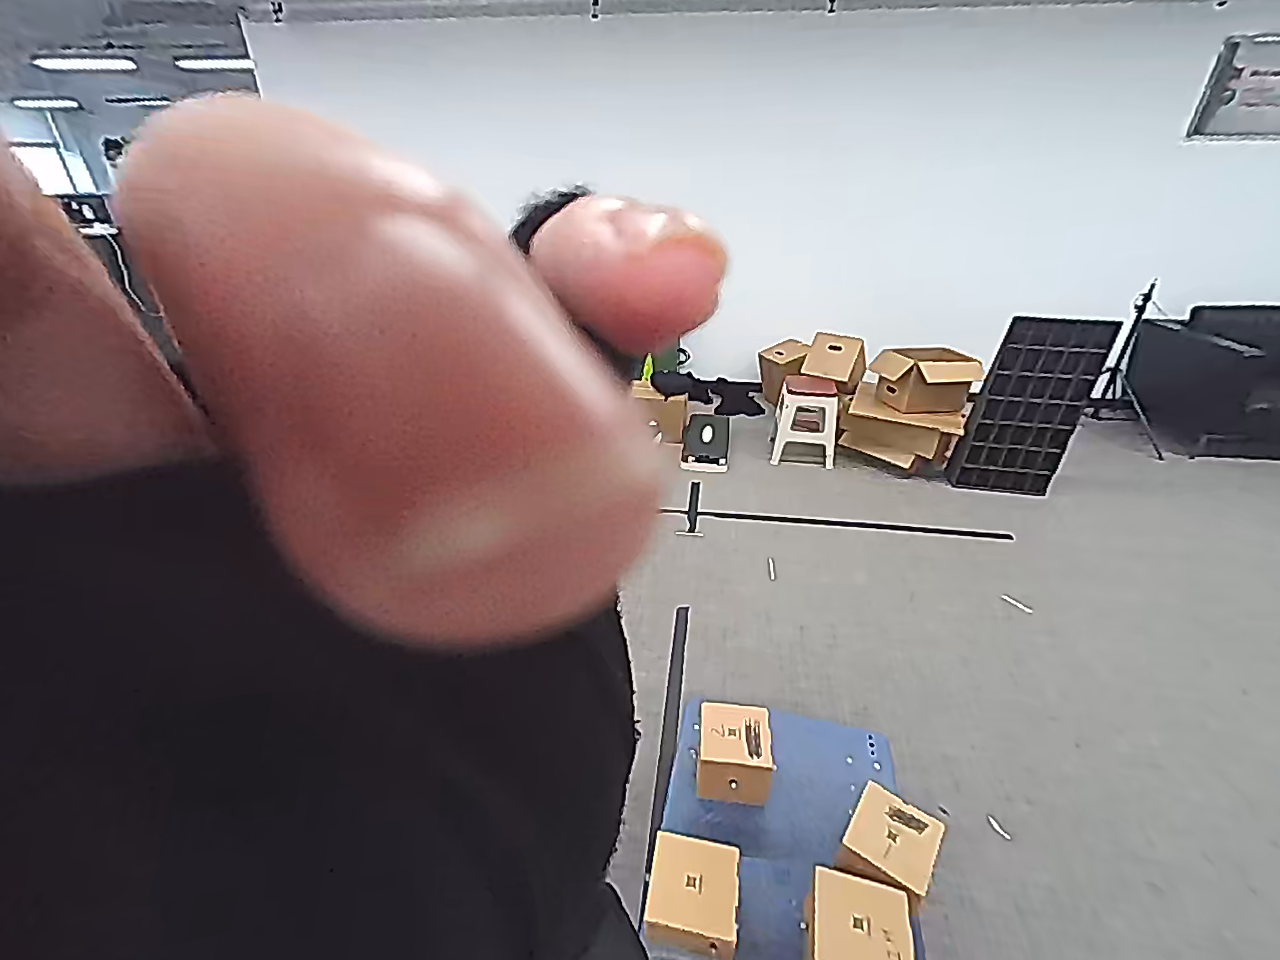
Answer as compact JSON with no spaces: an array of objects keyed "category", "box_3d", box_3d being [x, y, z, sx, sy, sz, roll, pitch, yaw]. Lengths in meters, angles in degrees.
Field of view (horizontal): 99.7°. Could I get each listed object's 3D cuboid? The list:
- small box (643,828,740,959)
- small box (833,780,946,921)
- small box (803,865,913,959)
[{"category":"small box","box_3d":[0.106,0.863,1.114,0.179,0.176,0.168,7,31,9]},{"category":"small box","box_3d":[0.541,0.819,1.187,0.168,0.176,0.179,22,37,33]},{"category":"small box","box_3d":[0.414,0.899,1.047,0.179,0.176,0.168,9,31,15]}]
